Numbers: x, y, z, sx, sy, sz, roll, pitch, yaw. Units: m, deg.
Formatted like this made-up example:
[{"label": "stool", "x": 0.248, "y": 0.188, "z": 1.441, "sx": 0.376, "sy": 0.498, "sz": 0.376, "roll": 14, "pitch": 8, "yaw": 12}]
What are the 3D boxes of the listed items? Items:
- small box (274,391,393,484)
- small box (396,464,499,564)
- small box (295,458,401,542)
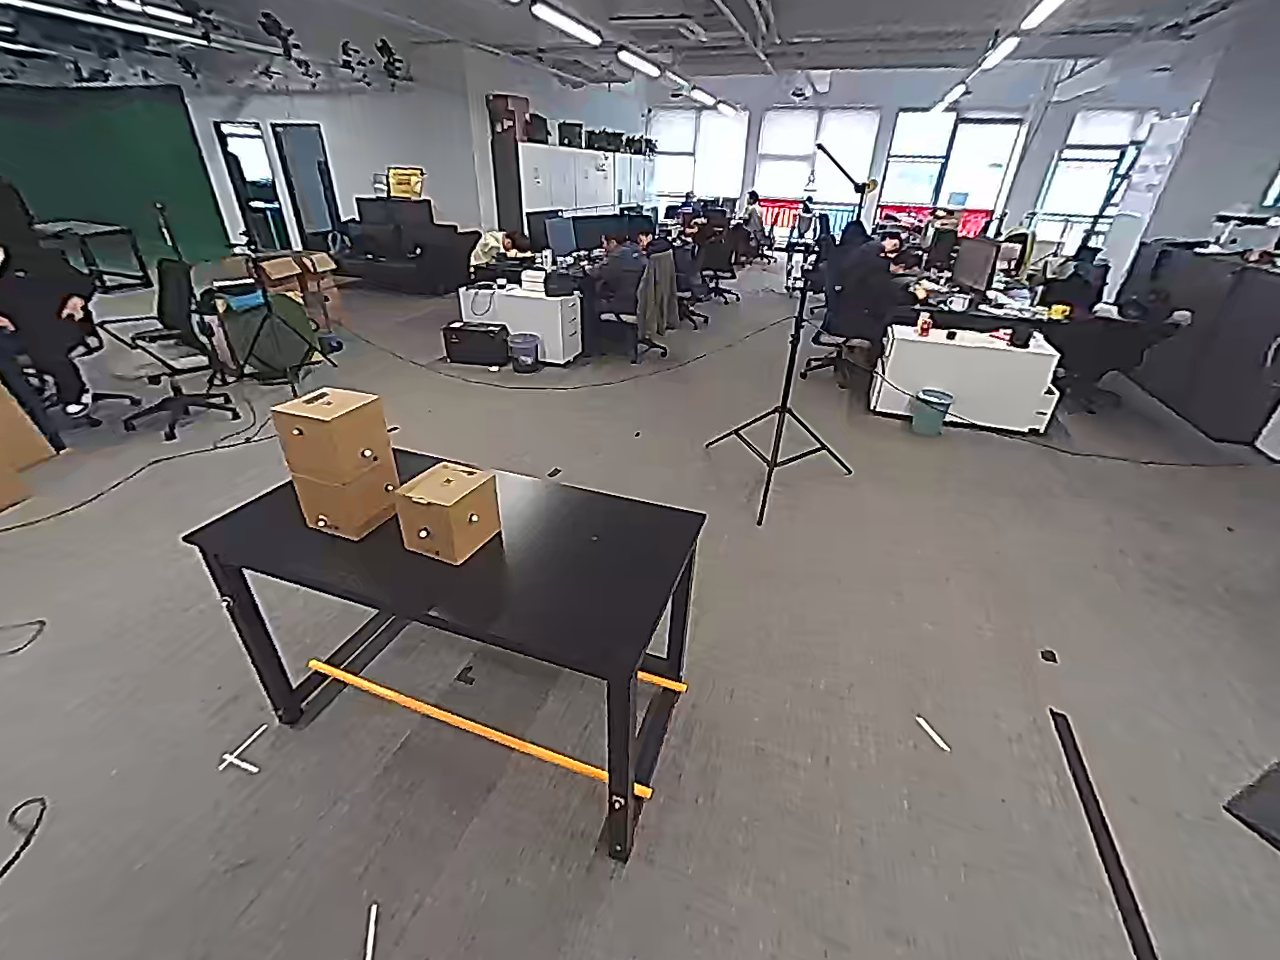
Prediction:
[{"label": "small box", "x": -0.748, "y": -0.106, "z": 1.336, "sx": 0.179, "sy": 0.176, "sz": 0.168, "roll": 11, "pitch": 30, "yaw": 15}, {"label": "small box", "x": -0.468, "y": 0.085, "z": 1.347, "sx": 0.168, "sy": 0.176, "sz": 0.179, "roll": 13, "pitch": 32, "yaw": 18}, {"label": "small box", "x": -0.751, "y": 0.037, "z": 1.418, "sx": 0.168, "sy": 0.176, "sz": 0.179, "roll": 10, "pitch": 31, "yaw": 17}]
